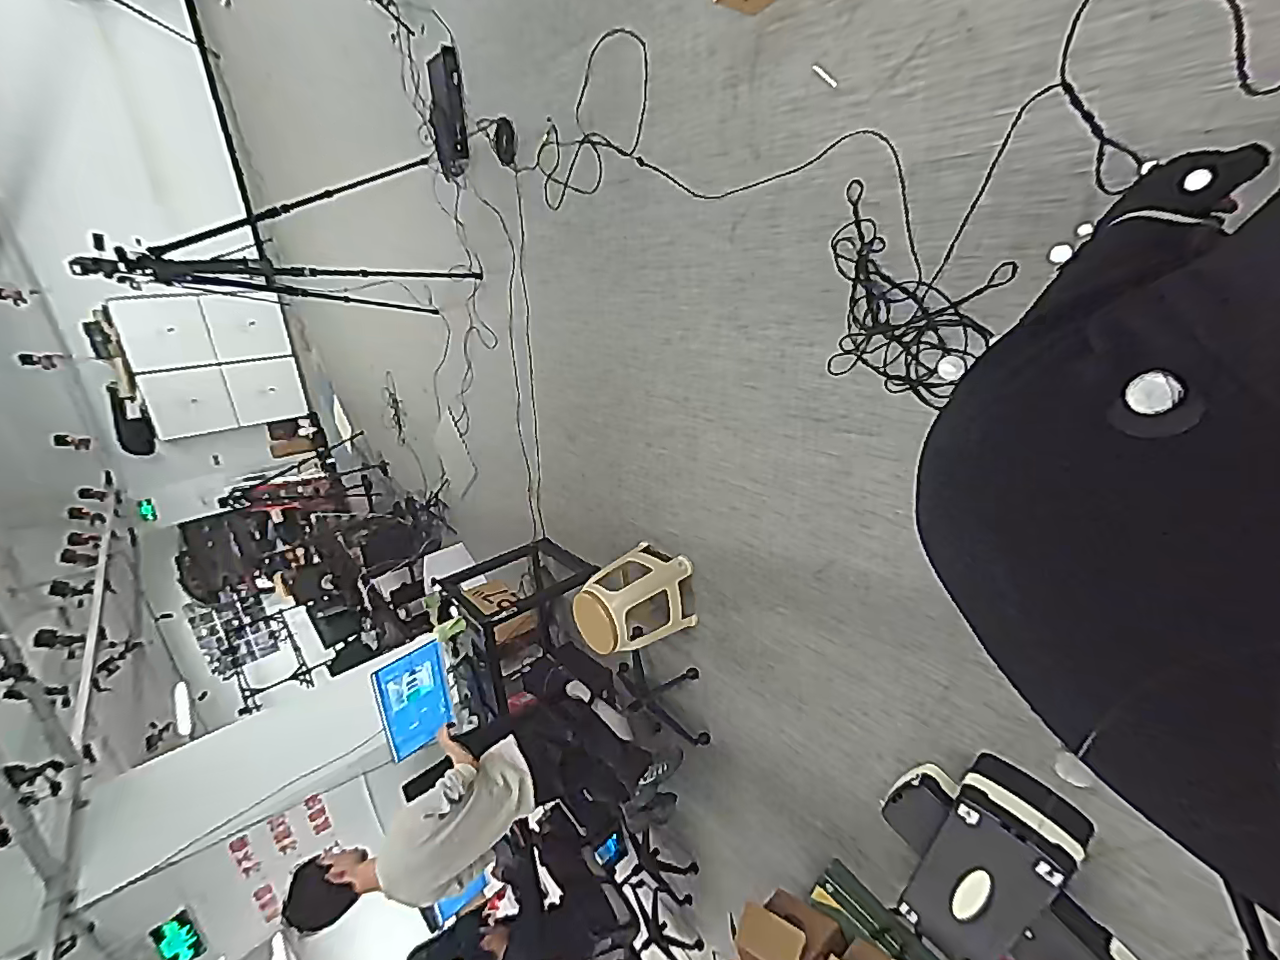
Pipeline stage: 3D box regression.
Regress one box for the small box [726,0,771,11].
[{"bbox_3d":[0.298,-1.349,1.379,0.179,0.176,0.168,7,113,50],"label":"small box"}]
